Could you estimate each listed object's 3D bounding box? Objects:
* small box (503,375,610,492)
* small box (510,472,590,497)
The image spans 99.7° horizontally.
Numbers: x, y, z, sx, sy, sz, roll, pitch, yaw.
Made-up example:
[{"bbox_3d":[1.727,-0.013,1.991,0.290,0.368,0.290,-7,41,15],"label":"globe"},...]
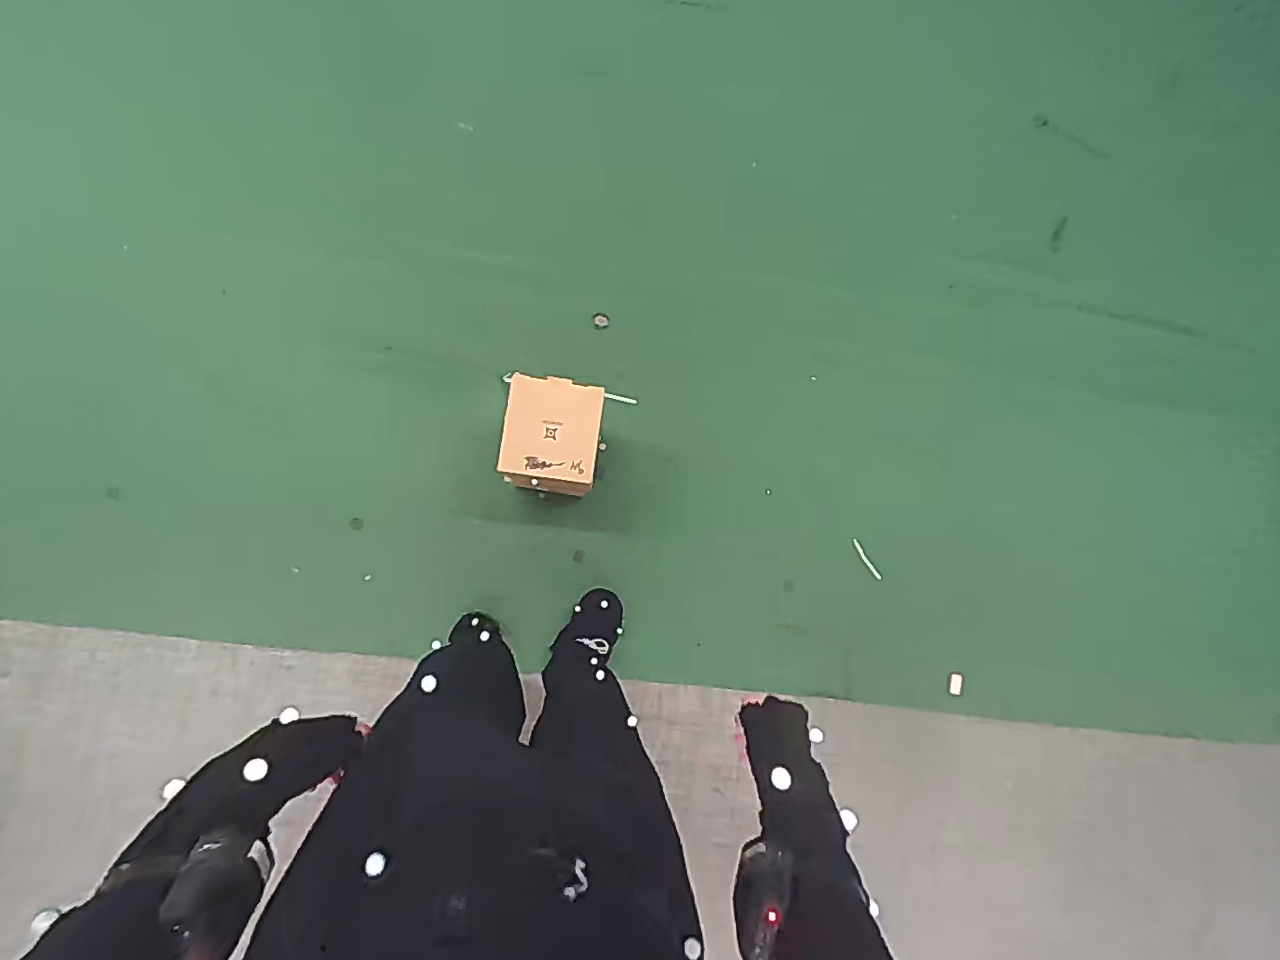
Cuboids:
[{"bbox_3d":[-0.154,-0.080,1.028,0.168,0.176,0.179,8,83,-4],"label":"small box"},{"bbox_3d":[-0.180,-0.062,1.189,0.168,0.176,0.179,8,86,-4],"label":"small box"}]
